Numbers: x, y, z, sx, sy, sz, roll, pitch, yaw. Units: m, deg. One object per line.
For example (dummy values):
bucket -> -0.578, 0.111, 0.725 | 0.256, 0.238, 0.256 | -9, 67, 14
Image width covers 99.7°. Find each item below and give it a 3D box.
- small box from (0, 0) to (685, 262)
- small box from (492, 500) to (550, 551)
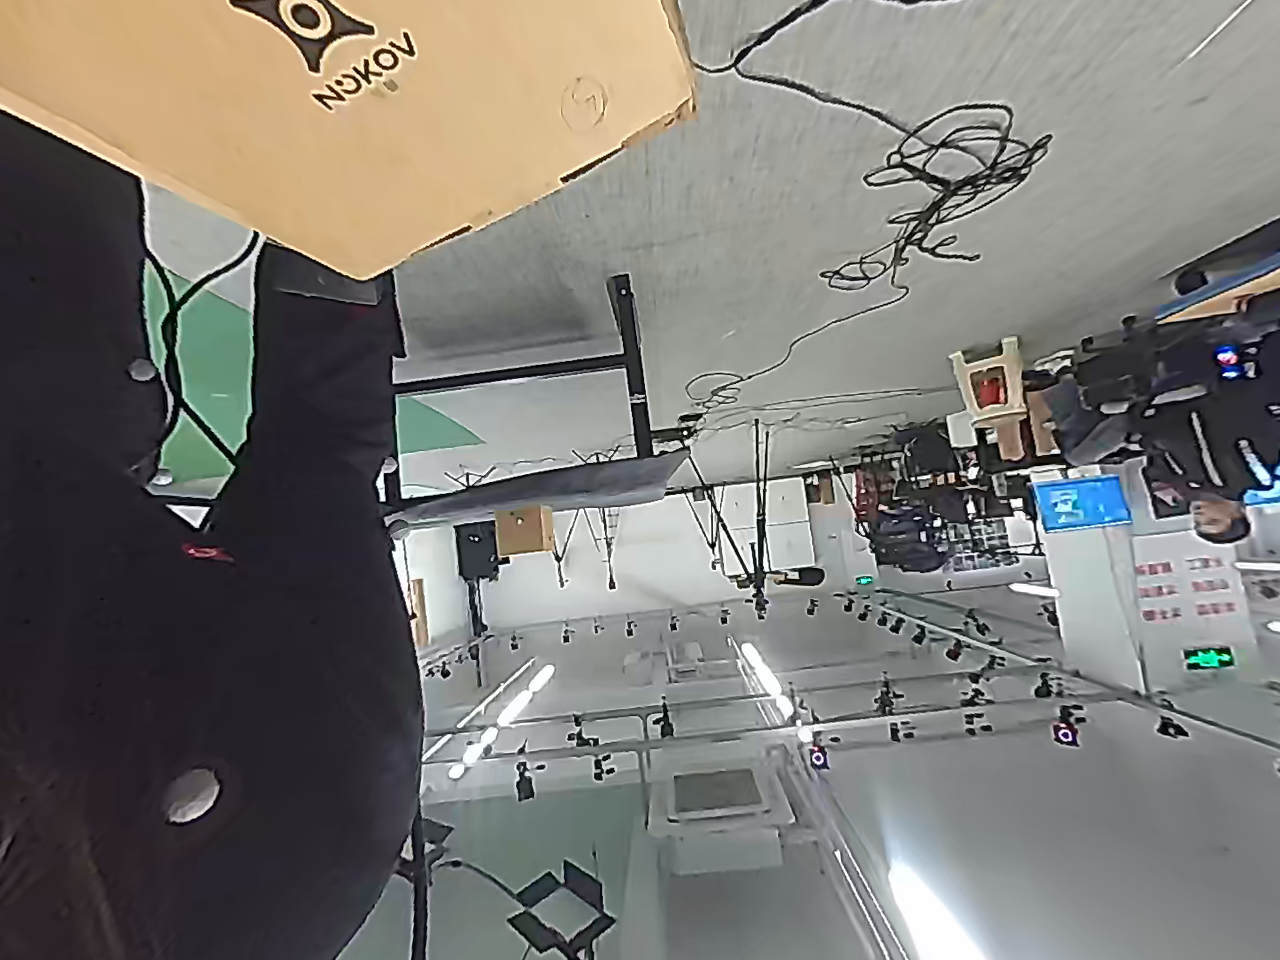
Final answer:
small box -> -0.102, -0.203, 0.154 | 0.168, 0.176, 0.179 | -16, 170, 20
small box -> -0.427, 0.164, 1.959 | 0.168, 0.176, 0.179 | -7, 174, 2
